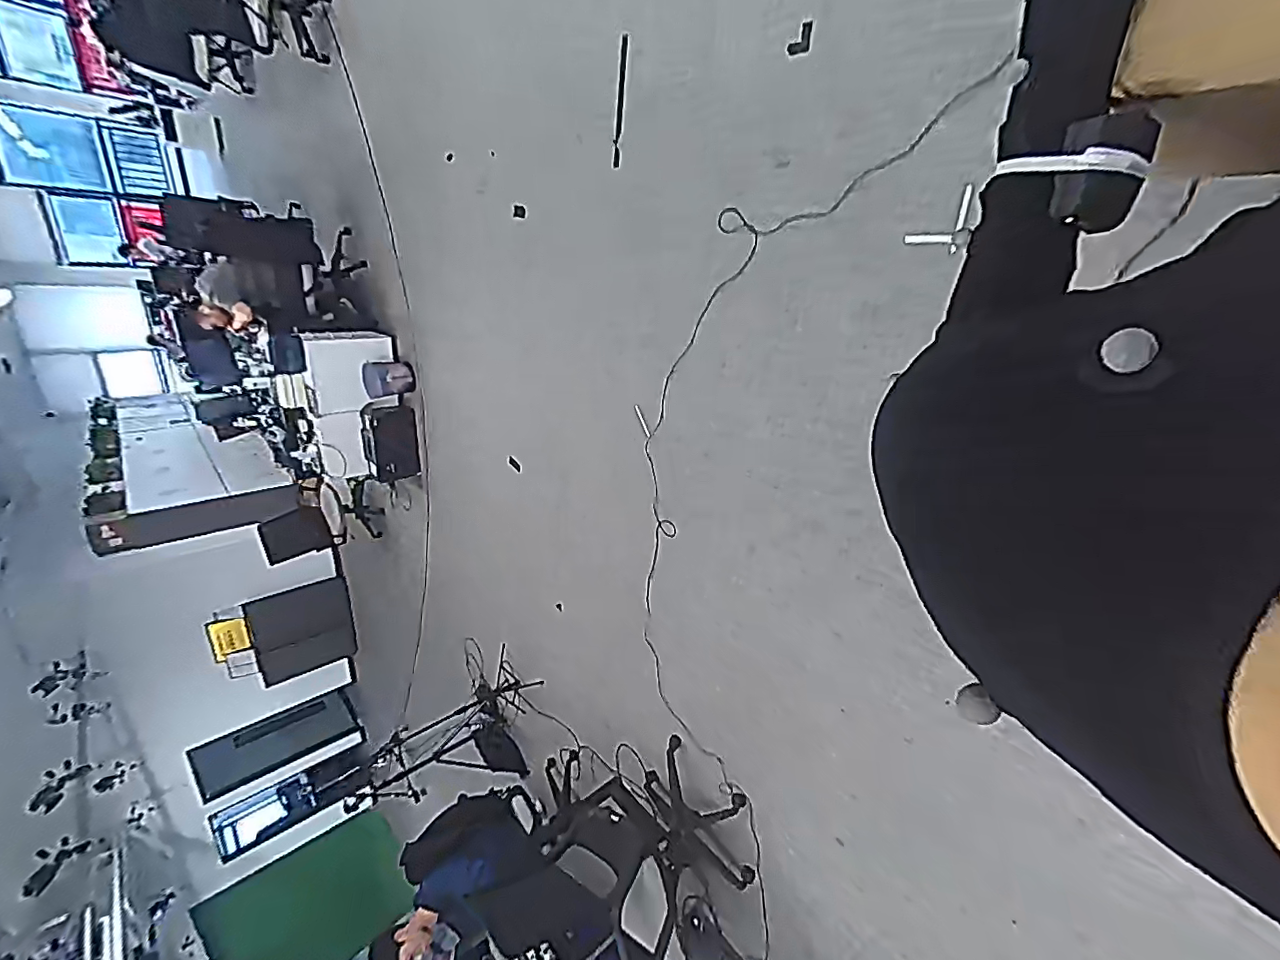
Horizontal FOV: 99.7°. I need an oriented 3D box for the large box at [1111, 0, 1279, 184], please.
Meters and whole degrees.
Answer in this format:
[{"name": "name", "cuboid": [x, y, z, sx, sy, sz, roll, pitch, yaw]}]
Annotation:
[{"name": "large box", "cuboid": [0.570, -0.379, 0.300, 0.408, 0.320, 0.320, 20, 116, 39]}]
